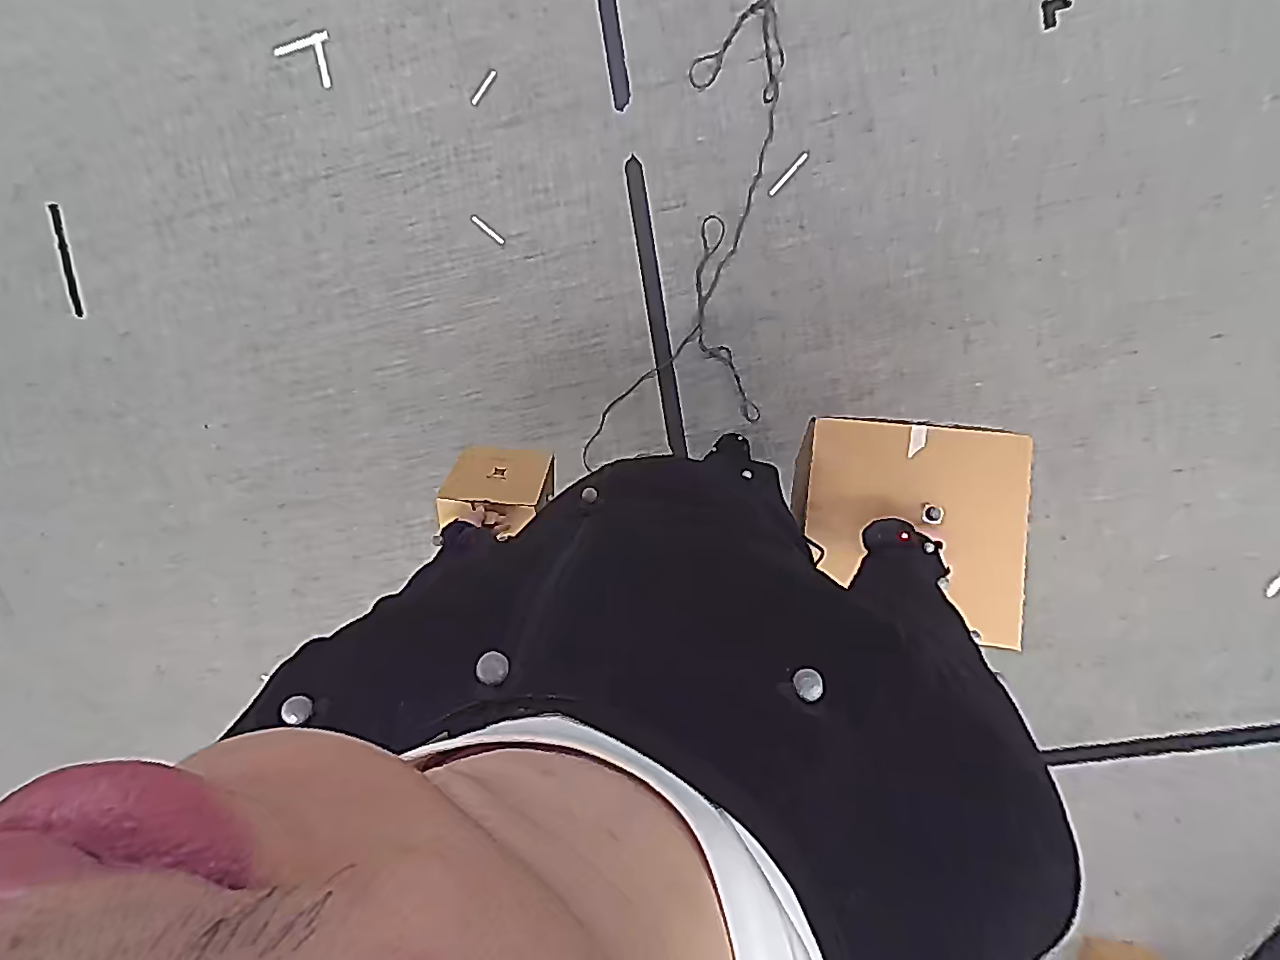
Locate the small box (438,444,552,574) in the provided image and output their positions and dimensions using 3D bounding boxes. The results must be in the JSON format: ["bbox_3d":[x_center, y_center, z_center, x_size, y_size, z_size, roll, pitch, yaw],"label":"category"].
[{"bbox_3d":[-0.256,0.054,1.000,0.168,0.179,0.176,5,124,-2],"label":"small box"}]
